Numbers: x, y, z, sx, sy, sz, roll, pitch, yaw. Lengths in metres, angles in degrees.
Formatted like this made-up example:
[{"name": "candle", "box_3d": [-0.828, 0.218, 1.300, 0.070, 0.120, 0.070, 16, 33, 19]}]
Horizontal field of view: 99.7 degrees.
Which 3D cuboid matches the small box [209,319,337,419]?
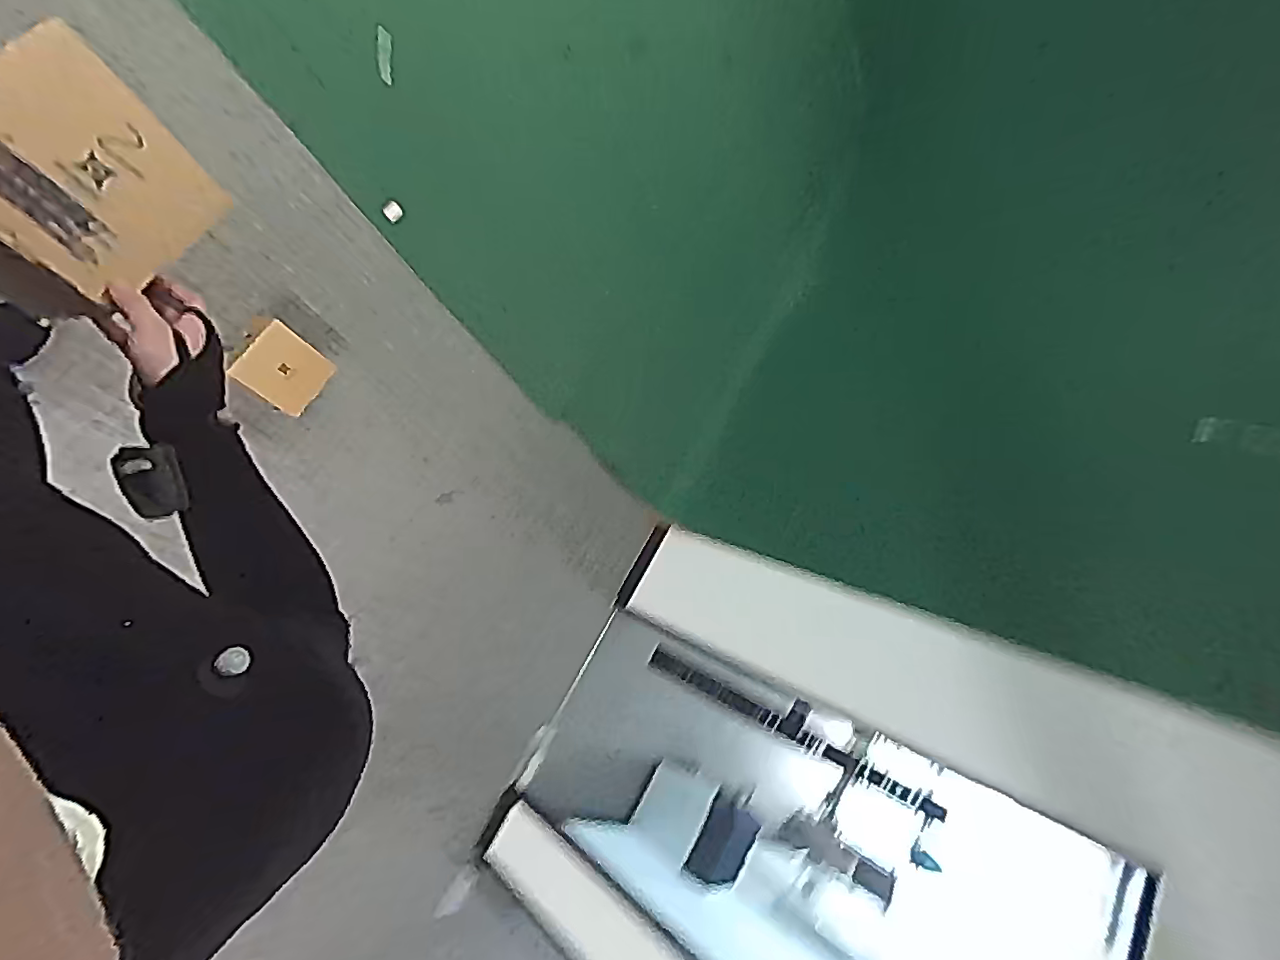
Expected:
[{"name": "small box", "box_3d": [-0.897, -0.272, 1.319, 0.168, 0.176, 0.179, -60, 141, -17]}]
